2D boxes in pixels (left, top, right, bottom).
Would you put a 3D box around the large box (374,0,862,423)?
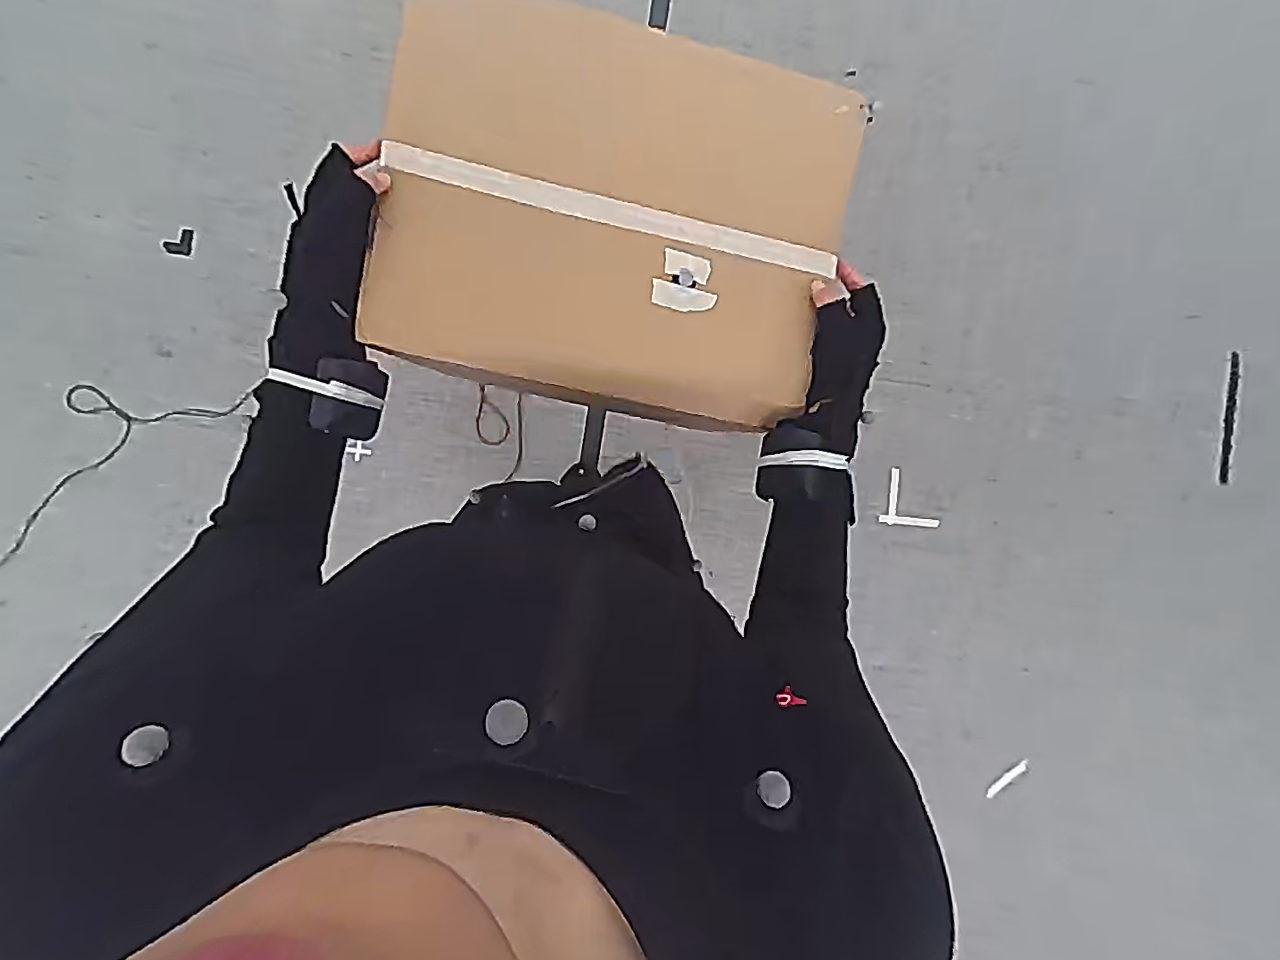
[{"bbox_3d":[-0.033,-0.253,0.632,0.408,0.320,0.320,11,96,-9],"label":"large box"}]
